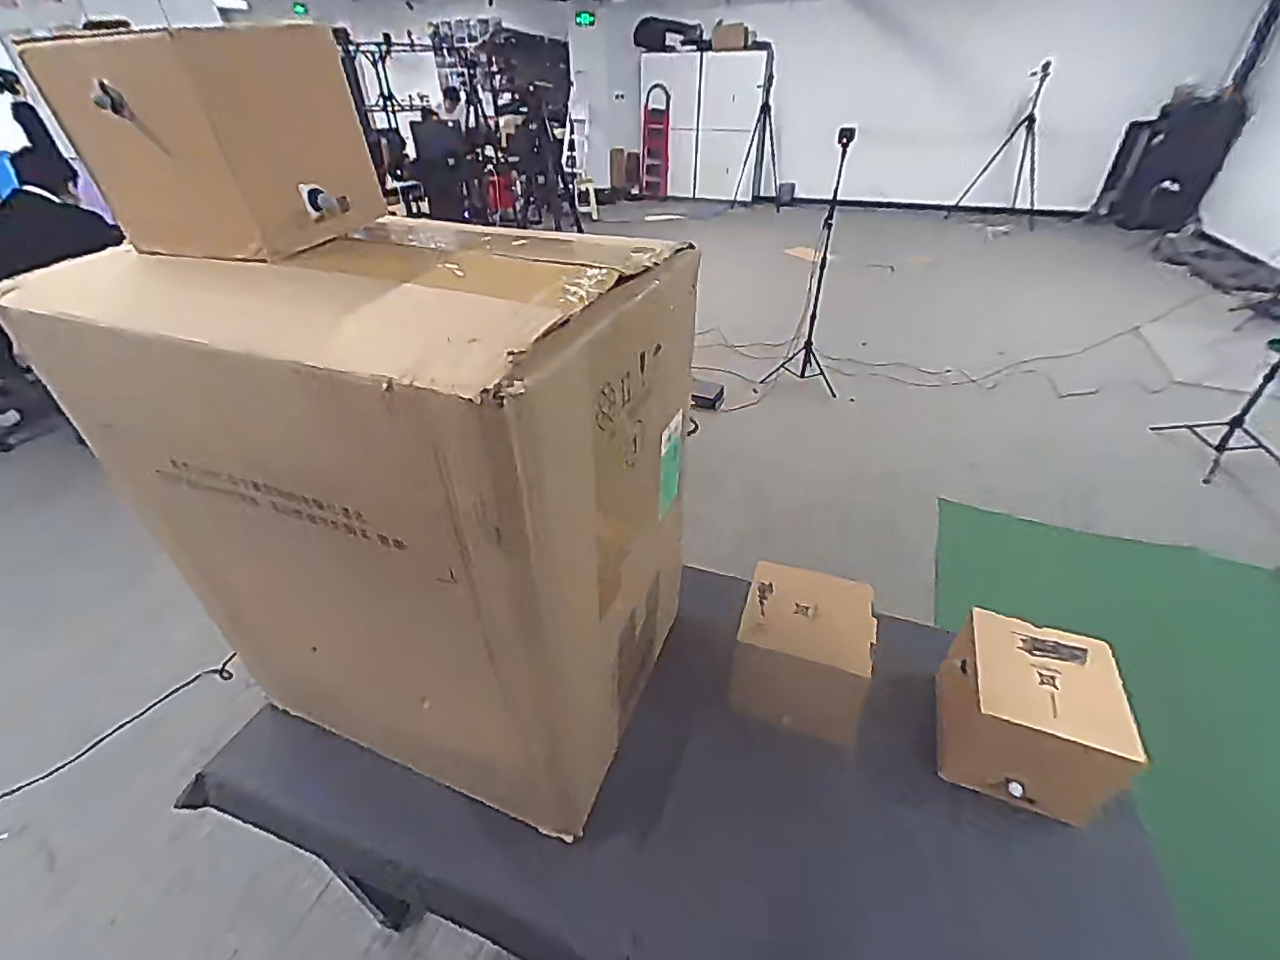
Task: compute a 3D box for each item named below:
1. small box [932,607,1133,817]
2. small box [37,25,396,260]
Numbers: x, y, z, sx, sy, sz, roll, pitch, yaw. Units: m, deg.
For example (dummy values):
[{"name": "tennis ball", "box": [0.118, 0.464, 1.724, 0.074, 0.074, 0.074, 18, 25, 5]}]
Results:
[{"name": "small box", "box": [0.514, 0.314, 0.743, 0.168, 0.176, 0.179, 14, 39, 19]}, {"name": "small box", "box": [-0.376, -0.324, 0.520, 0.179, 0.176, 0.168, 11, 43, 13]}]
